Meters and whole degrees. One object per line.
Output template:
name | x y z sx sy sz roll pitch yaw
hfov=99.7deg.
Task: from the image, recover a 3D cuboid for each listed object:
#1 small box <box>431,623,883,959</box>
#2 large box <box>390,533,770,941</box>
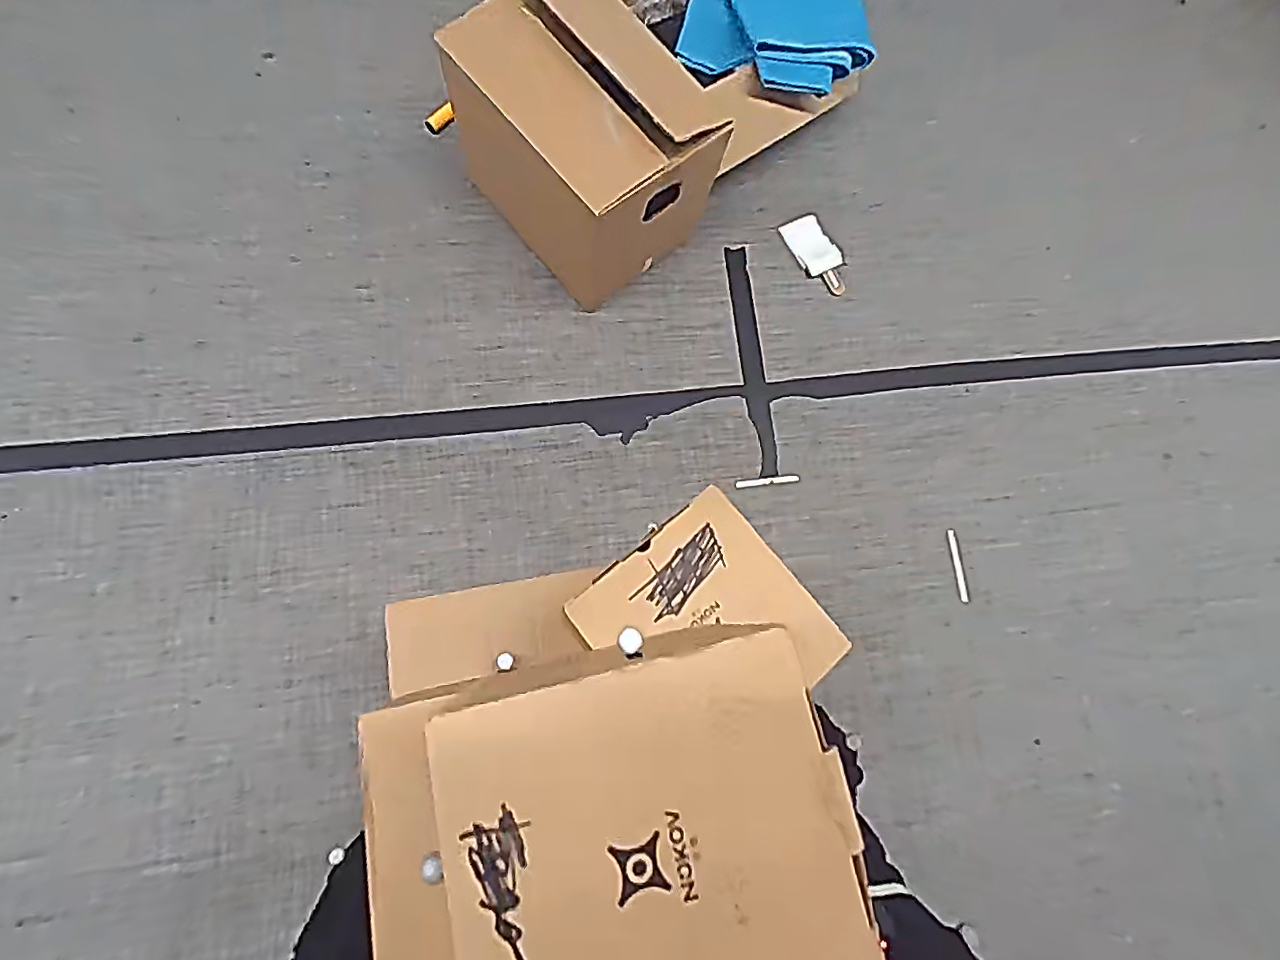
small box | -0.003 0.180 0.310 0.179 0.176 0.168 -11 77 -11
large box | -0.061 0.280 0.702 0.408 0.320 0.320 -9 77 -12
